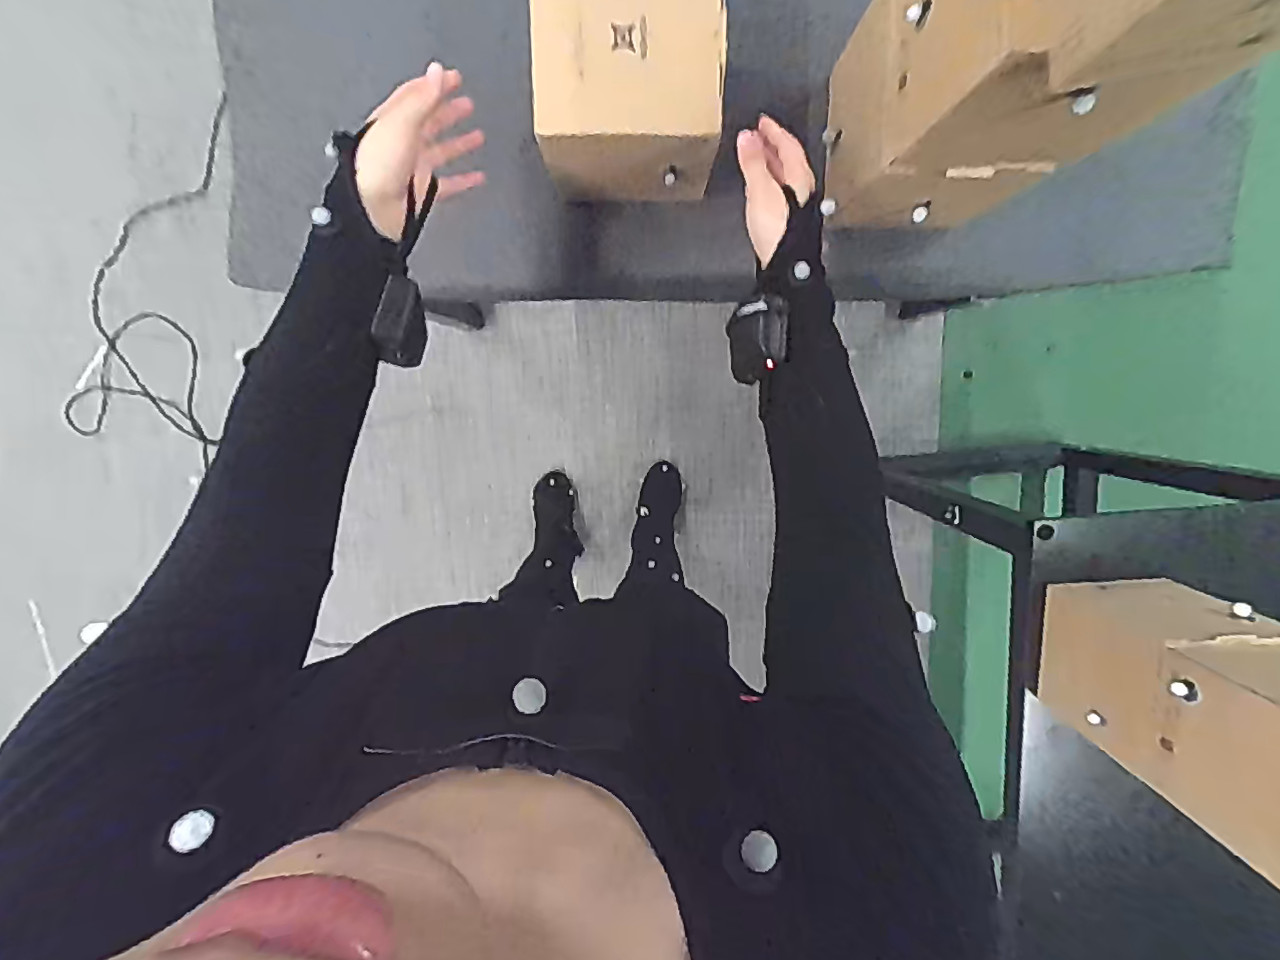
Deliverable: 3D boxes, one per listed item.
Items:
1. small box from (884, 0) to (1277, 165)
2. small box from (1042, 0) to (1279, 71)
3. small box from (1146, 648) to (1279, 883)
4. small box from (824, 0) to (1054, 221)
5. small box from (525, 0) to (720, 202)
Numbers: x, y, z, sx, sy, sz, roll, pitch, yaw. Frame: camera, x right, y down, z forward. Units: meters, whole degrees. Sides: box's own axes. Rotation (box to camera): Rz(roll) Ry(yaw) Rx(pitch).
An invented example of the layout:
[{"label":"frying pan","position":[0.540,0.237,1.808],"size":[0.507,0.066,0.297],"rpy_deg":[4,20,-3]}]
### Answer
[{"label":"small box","position":[0.307,-0.356,0.401],"size":[0.179,0.176,0.168],"rpy_deg":[-2,99,2]},{"label":"small box","position":[0.314,-0.323,0.239],"size":[0.168,0.176,0.179],"rpy_deg":[-10,98,2]},{"label":"small box","position":[0.643,0.273,0.510],"size":[0.179,0.176,0.168],"rpy_deg":[-1,101,0]},{"label":"small box","position":[0.300,-0.381,0.563],"size":[0.168,0.176,0.179],"rpy_deg":[0,100,1]},{"label":"small box","position":[-0.015,-0.405,0.563],"size":[0.179,0.176,0.168],"rpy_deg":[-1,98,1]}]
